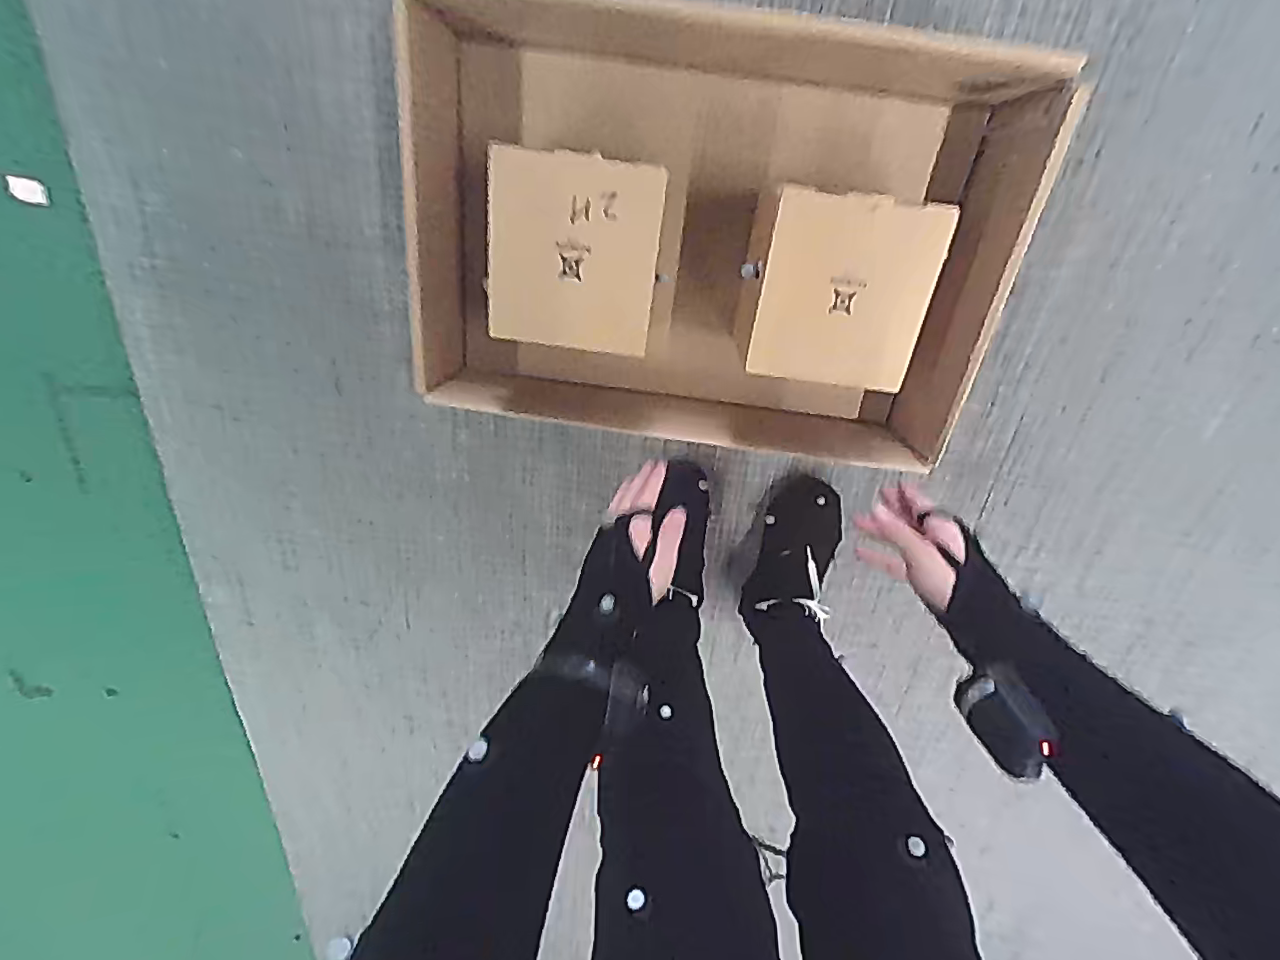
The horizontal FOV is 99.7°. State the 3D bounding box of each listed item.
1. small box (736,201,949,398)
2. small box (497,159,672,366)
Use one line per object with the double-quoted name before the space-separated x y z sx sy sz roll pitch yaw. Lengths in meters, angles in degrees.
"small box" 0.209 -0.210 0.619 0.168 0.176 0.179 7 115 1
"small box" -0.057 -0.246 0.614 0.168 0.176 0.179 8 115 -2
